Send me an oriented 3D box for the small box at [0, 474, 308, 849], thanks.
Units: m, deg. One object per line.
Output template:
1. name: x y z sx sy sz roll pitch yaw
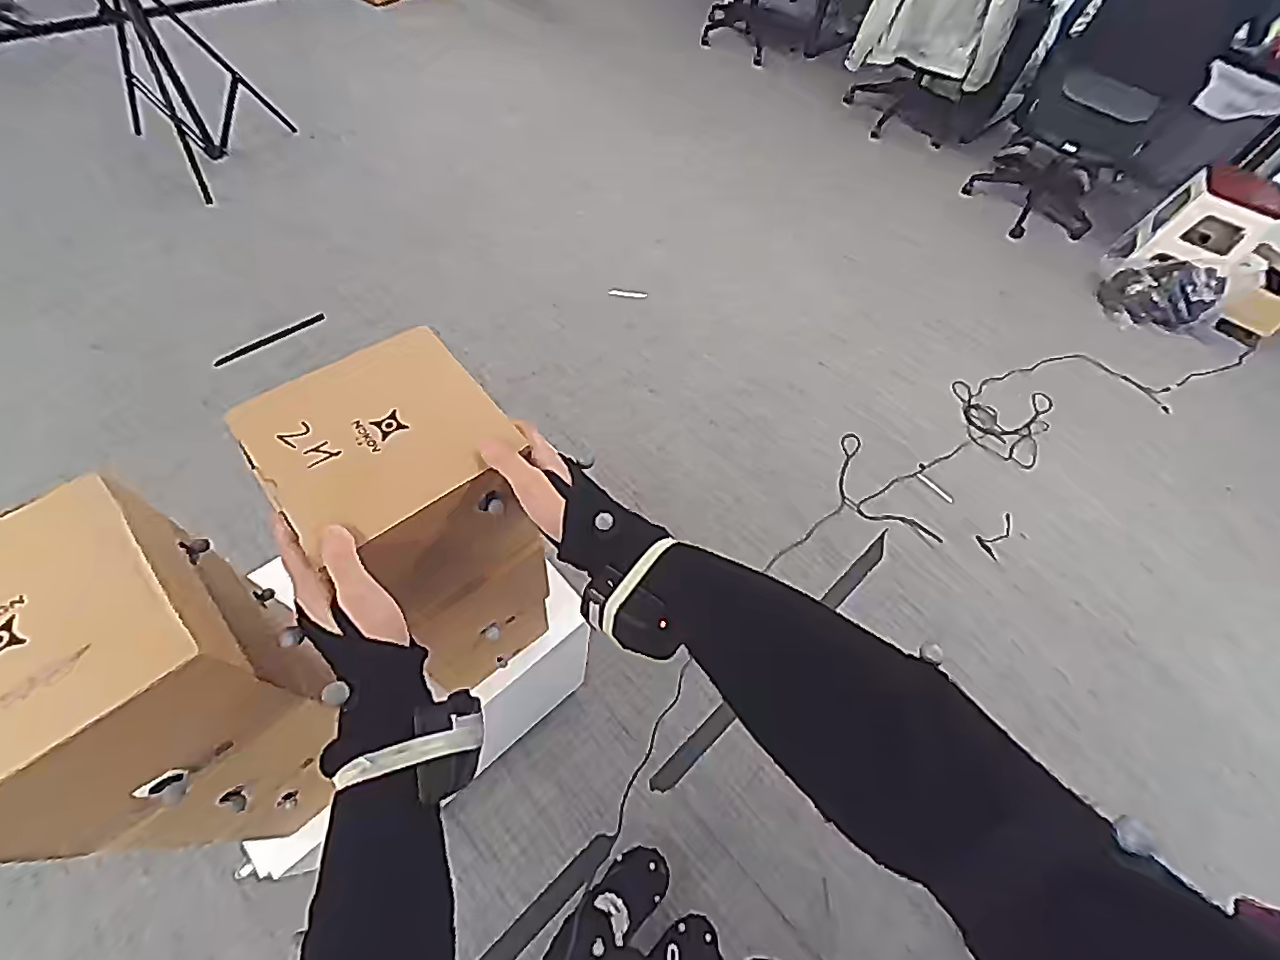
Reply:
1. small box: -0.389 0.135 0.391 0.168 0.176 0.179 -38 71 -25

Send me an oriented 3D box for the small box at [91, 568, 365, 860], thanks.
1. small box: -0.406 0.222 0.528 0.168 0.176 0.179 -37 69 -25

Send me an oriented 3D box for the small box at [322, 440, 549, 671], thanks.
1. small box: -0.222 0.093 0.628 0.168 0.176 0.179 -35 69 -23

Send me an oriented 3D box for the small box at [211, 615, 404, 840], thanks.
1. small box: -0.425 0.305 0.665 0.168 0.176 0.179 -36 68 -24
